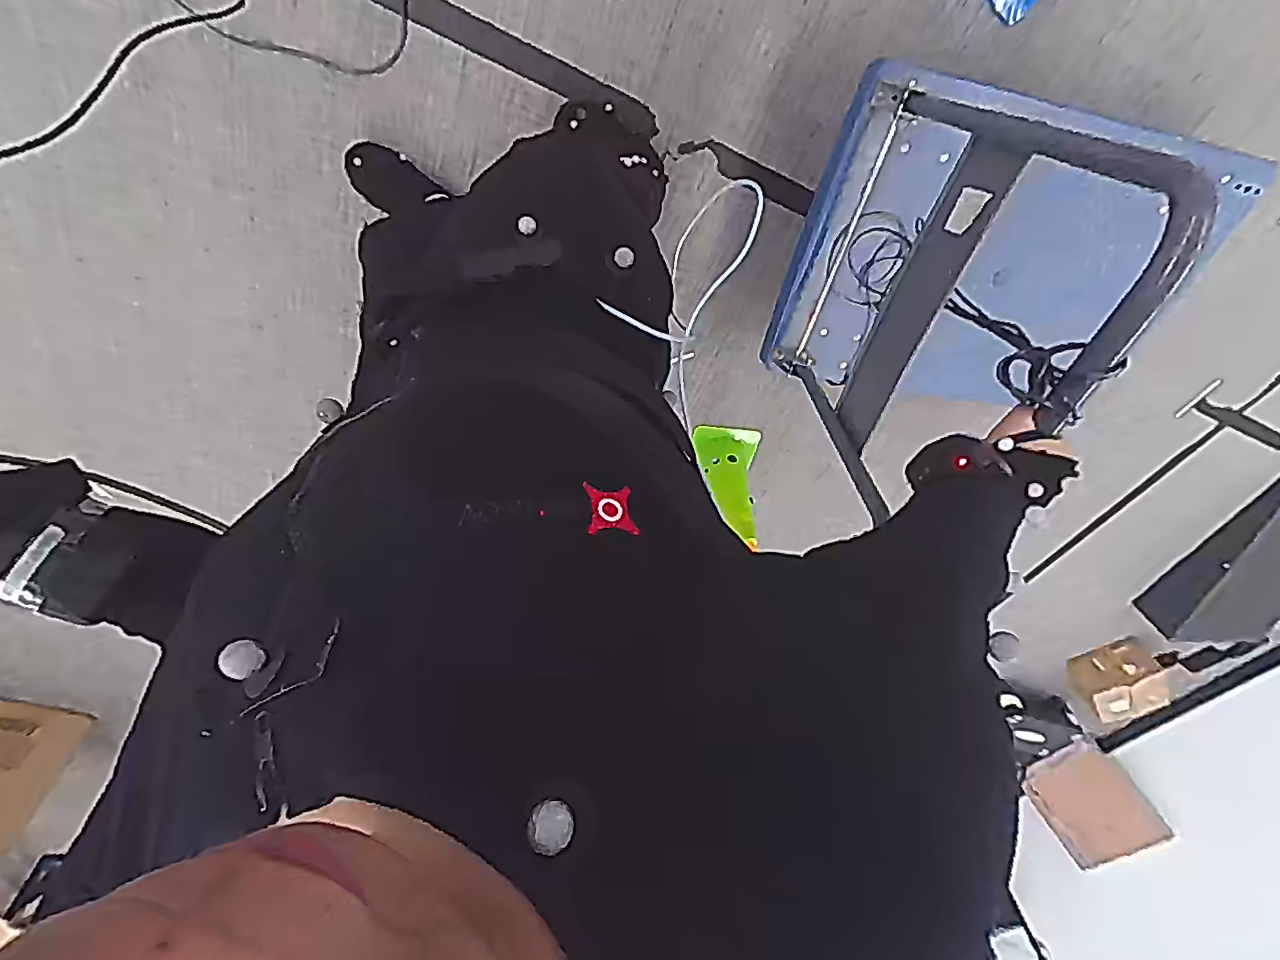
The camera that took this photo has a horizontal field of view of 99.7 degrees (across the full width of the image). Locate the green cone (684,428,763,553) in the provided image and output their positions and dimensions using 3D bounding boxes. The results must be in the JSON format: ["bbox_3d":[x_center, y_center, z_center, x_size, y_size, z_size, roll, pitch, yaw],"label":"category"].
[{"bbox_3d":[0.254,0.045,1.445,0.202,0.368,0.200,4,129,-9],"label":"green cone"}]

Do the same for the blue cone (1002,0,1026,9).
[{"bbox_3d":[0.671,-0.831,0.771,0.192,0.380,0.193,29,122,-27],"label":"blue cone"}]
